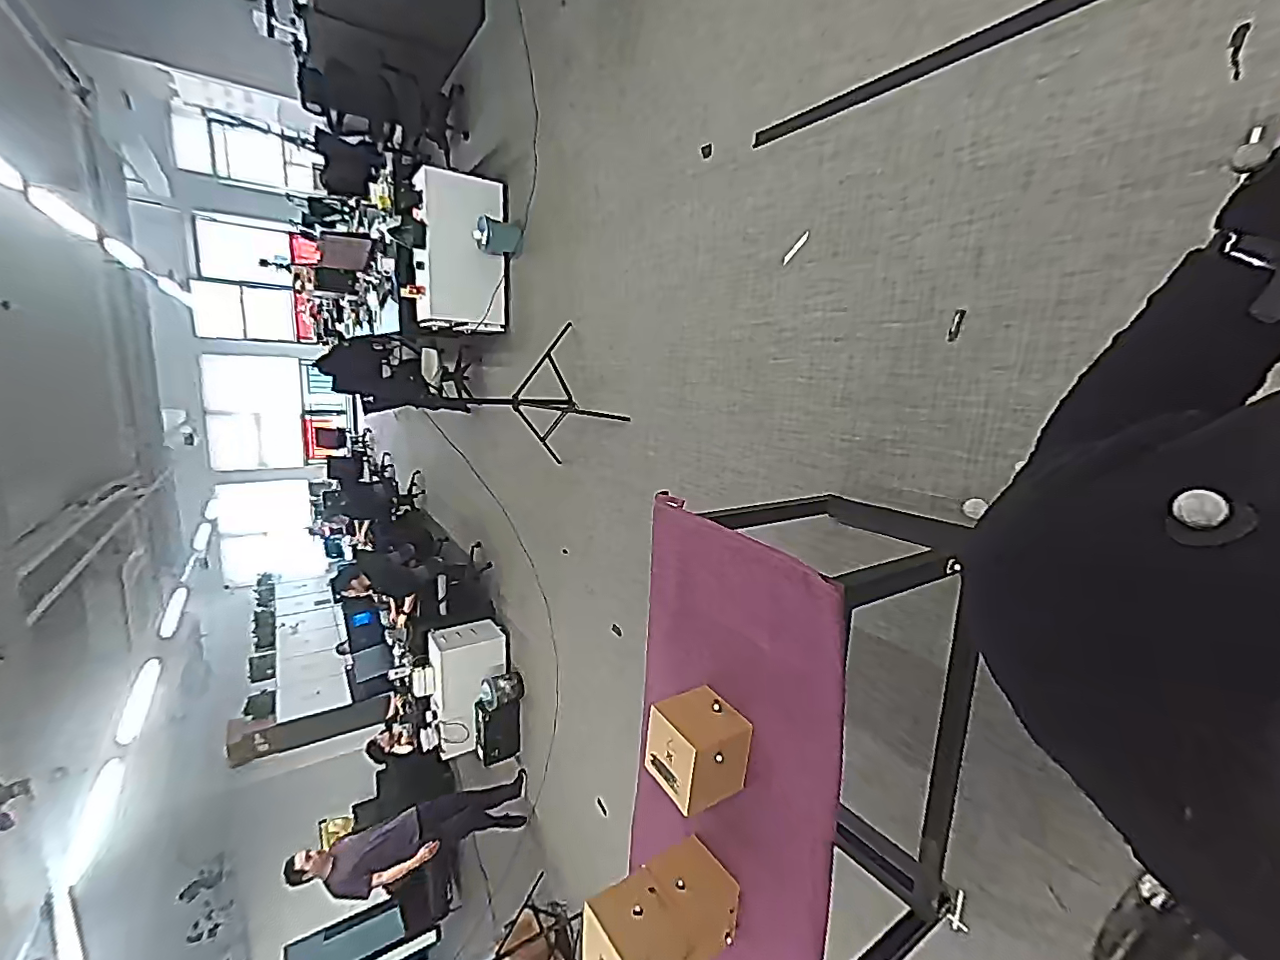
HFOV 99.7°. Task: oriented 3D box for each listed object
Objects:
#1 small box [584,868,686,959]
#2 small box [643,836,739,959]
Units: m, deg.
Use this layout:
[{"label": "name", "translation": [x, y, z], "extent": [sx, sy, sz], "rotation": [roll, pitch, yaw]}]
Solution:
[{"label": "small box", "translation": [-0.011, 1.037, 1.222], "extent": [0.168, 0.176, 0.179], "rotation": [18, 109, 54]}, {"label": "small box", "translation": [0.121, 1.020, 1.320], "extent": [0.179, 0.176, 0.168], "rotation": [20, 110, 54]}]
